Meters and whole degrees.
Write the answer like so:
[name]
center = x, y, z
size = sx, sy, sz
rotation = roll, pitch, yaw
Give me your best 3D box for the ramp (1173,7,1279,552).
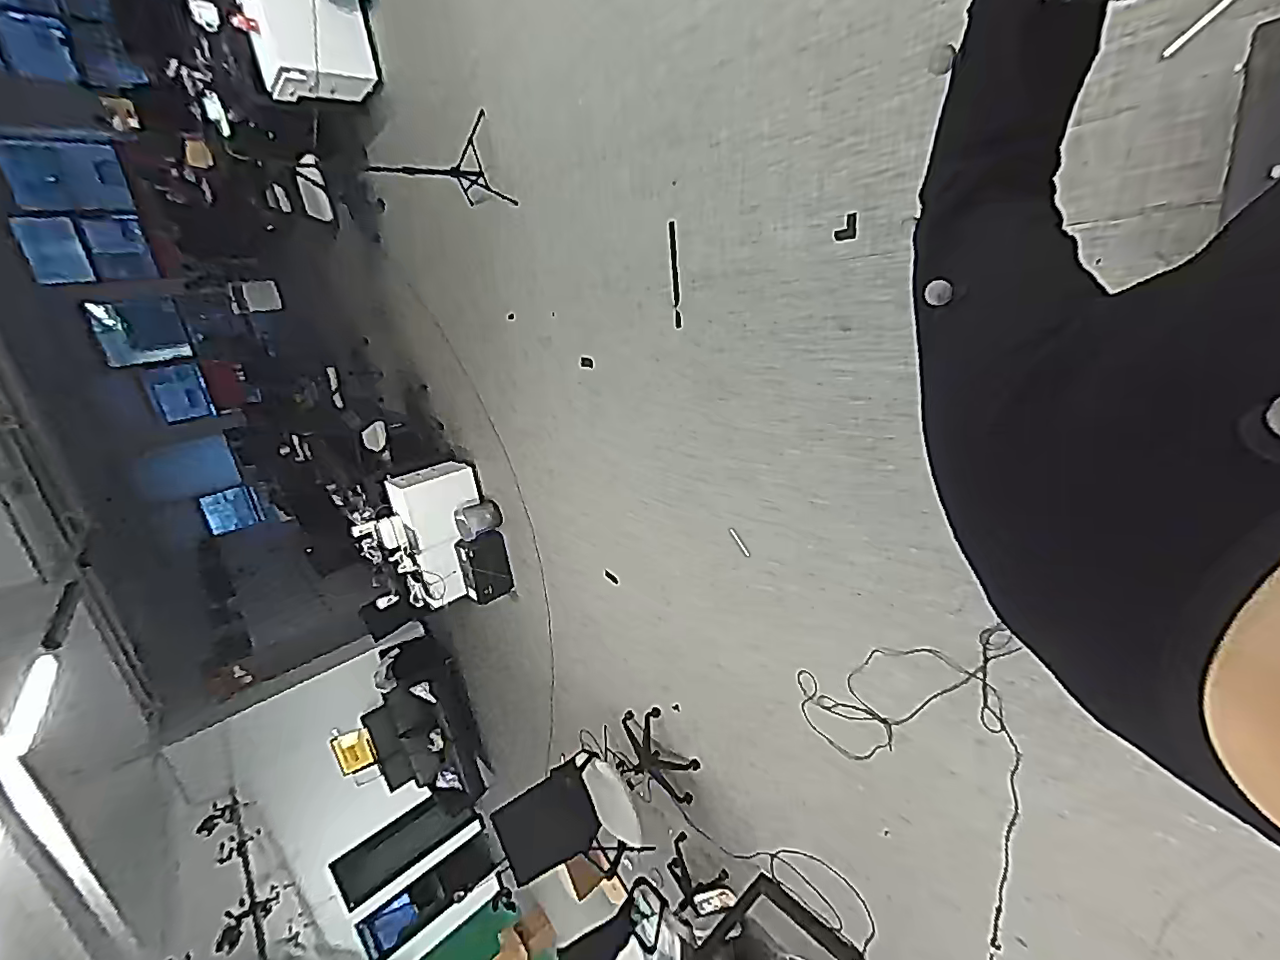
[ramp]
center = 1.274, -0.269, 0.877
size = 0.509, 0.206, 0.991
rotation = 11, 117, 48
